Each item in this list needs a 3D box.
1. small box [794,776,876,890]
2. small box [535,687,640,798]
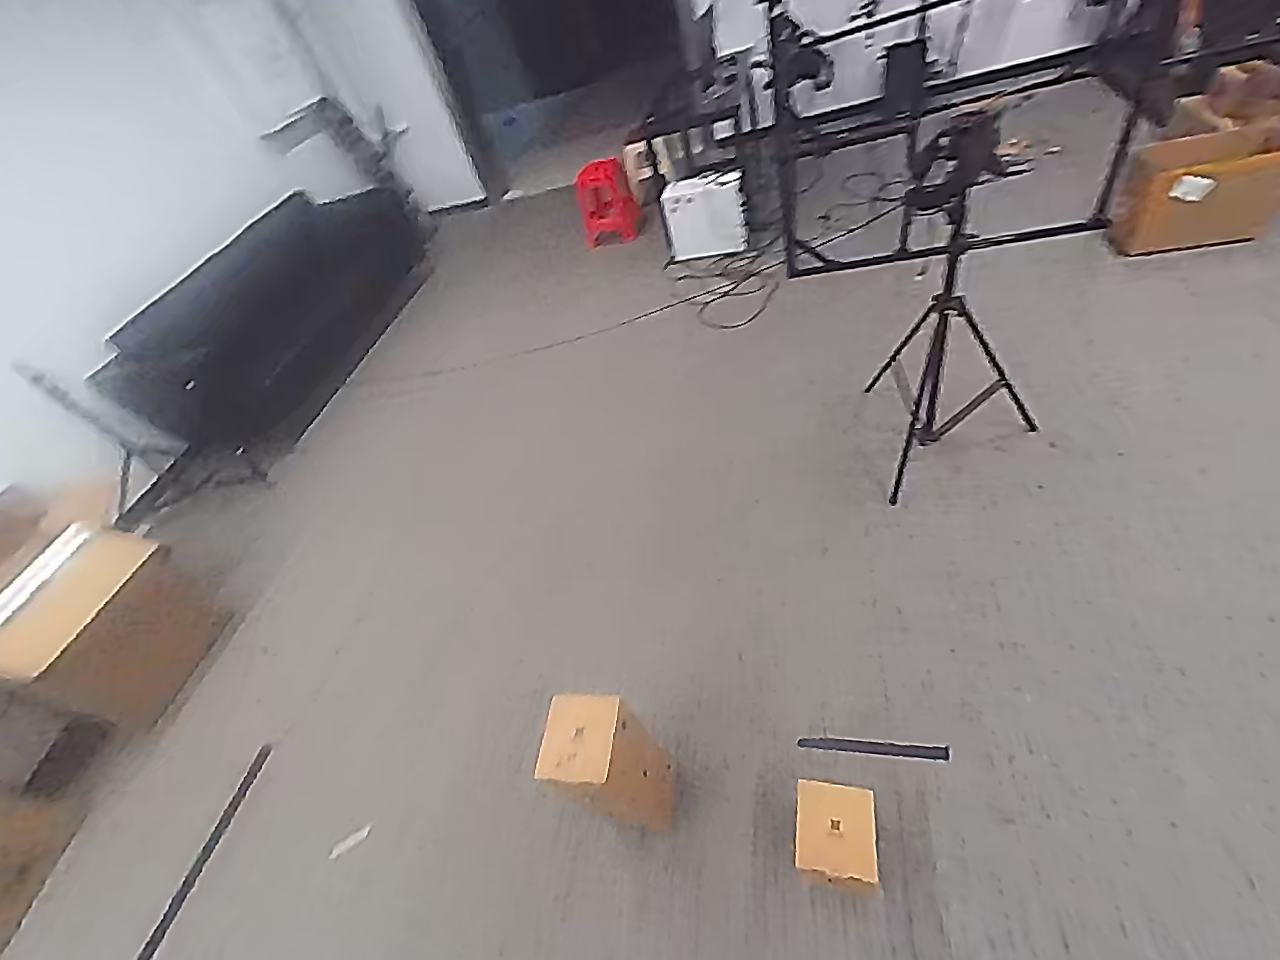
[{"bbox_3d":[0.447,0.812,1.244,0.168,0.176,0.179,-1,49,20],"label":"small box"},{"bbox_3d":[-0.106,0.584,1.204,0.168,0.176,0.179,-5,48,19],"label":"small box"}]
